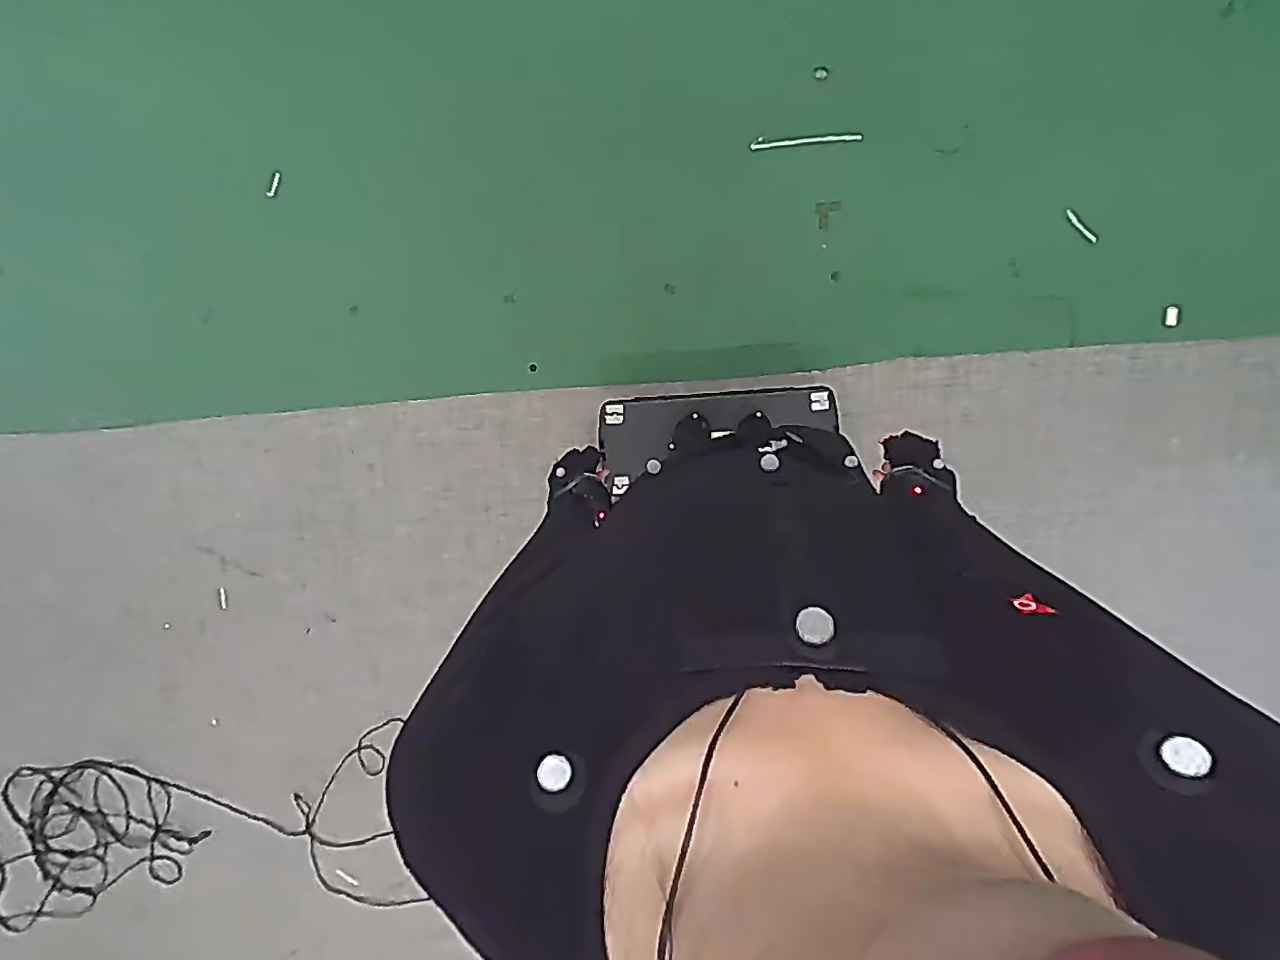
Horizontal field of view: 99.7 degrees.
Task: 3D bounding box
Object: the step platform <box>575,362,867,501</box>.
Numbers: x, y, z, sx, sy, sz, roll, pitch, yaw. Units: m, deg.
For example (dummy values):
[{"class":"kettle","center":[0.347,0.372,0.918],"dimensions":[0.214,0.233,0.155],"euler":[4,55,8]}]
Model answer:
[{"class":"step platform","center":[0.192,-0.122,1.363],"dimensions":[0.684,0.204,0.286],"euler":[-4,97,4]}]
